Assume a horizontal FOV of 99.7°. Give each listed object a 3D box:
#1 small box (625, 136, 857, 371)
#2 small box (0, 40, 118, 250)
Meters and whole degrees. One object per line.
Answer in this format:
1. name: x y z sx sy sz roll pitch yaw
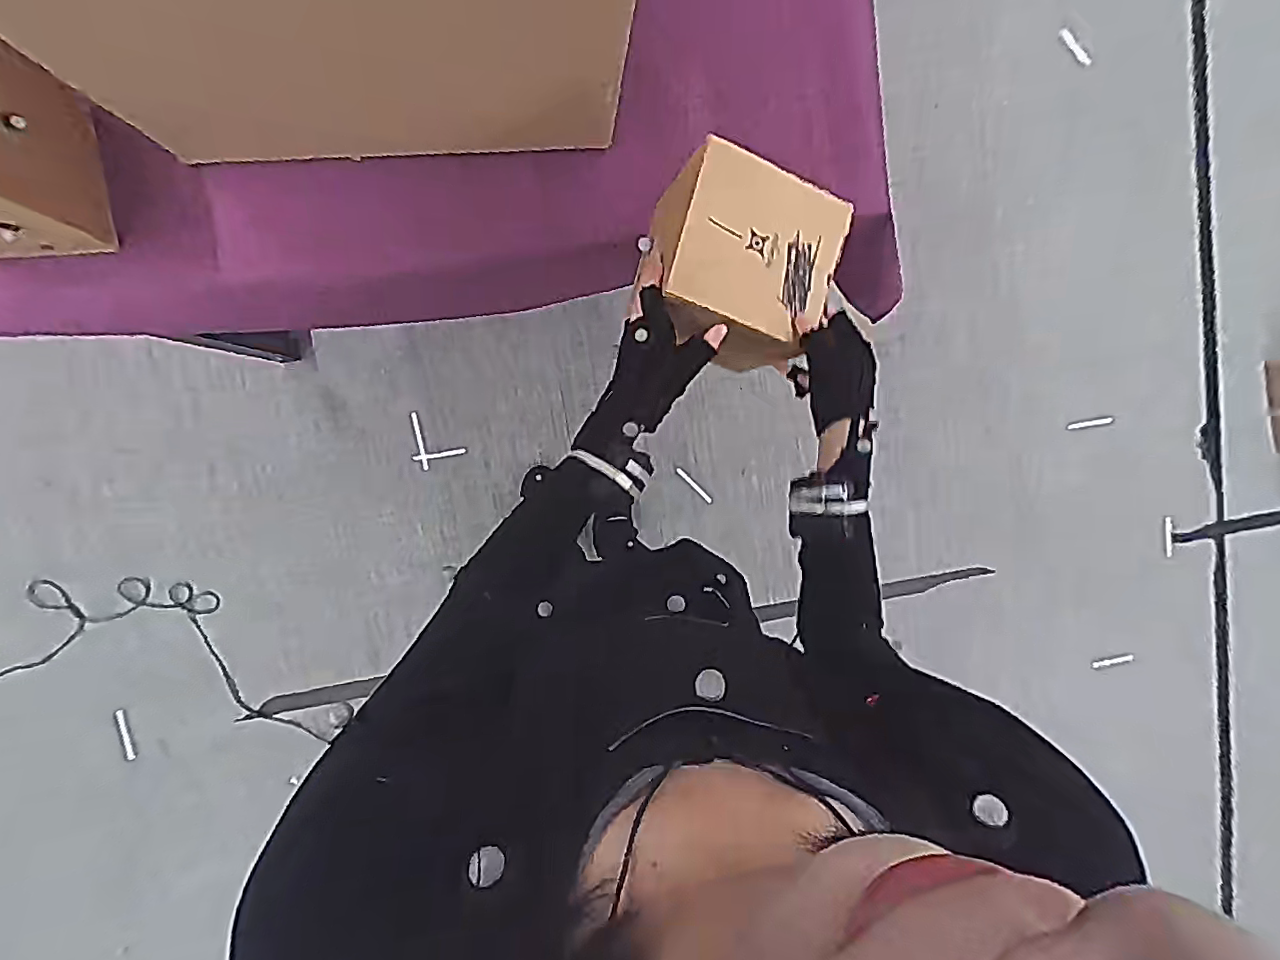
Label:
1. small box: 0.104 -0.234 0.616 0.179 0.176 0.168 18 87 -17
2. small box: -0.701 -0.351 0.559 0.168 0.176 0.179 -8 94 -10
